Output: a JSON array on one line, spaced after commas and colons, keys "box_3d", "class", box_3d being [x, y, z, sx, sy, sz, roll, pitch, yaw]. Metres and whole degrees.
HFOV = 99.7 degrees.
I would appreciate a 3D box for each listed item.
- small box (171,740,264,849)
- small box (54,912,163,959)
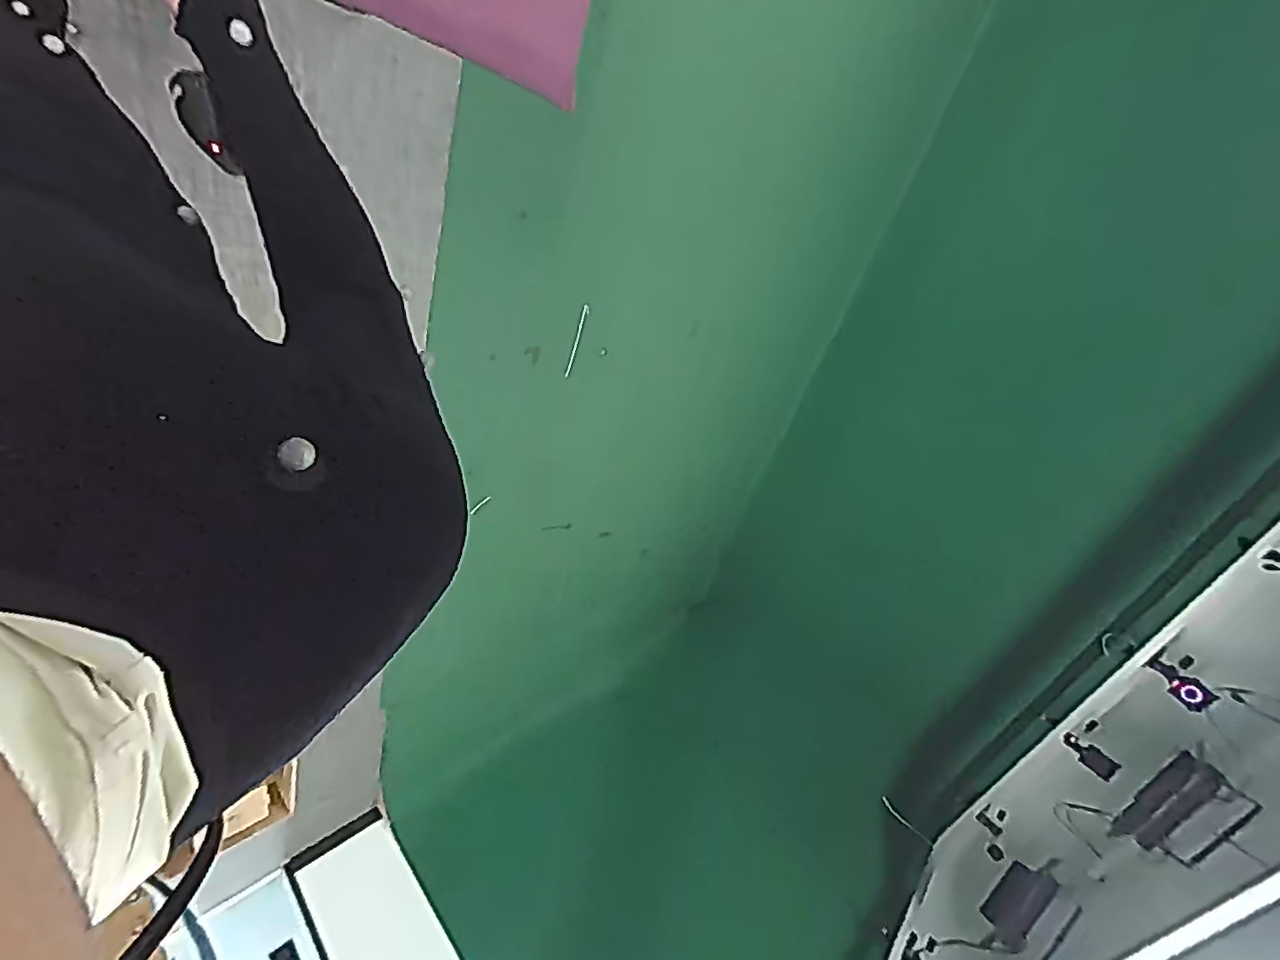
[{"box_3d": [-1.201, 0.884, 1.539, 0.179, 0.176, 0.168, -12, 131, -46], "class": "small box"}, {"box_3d": [-1.155, 1.102, 1.180, 0.168, 0.176, 0.179, -12, 132, -47], "class": "small box"}]
